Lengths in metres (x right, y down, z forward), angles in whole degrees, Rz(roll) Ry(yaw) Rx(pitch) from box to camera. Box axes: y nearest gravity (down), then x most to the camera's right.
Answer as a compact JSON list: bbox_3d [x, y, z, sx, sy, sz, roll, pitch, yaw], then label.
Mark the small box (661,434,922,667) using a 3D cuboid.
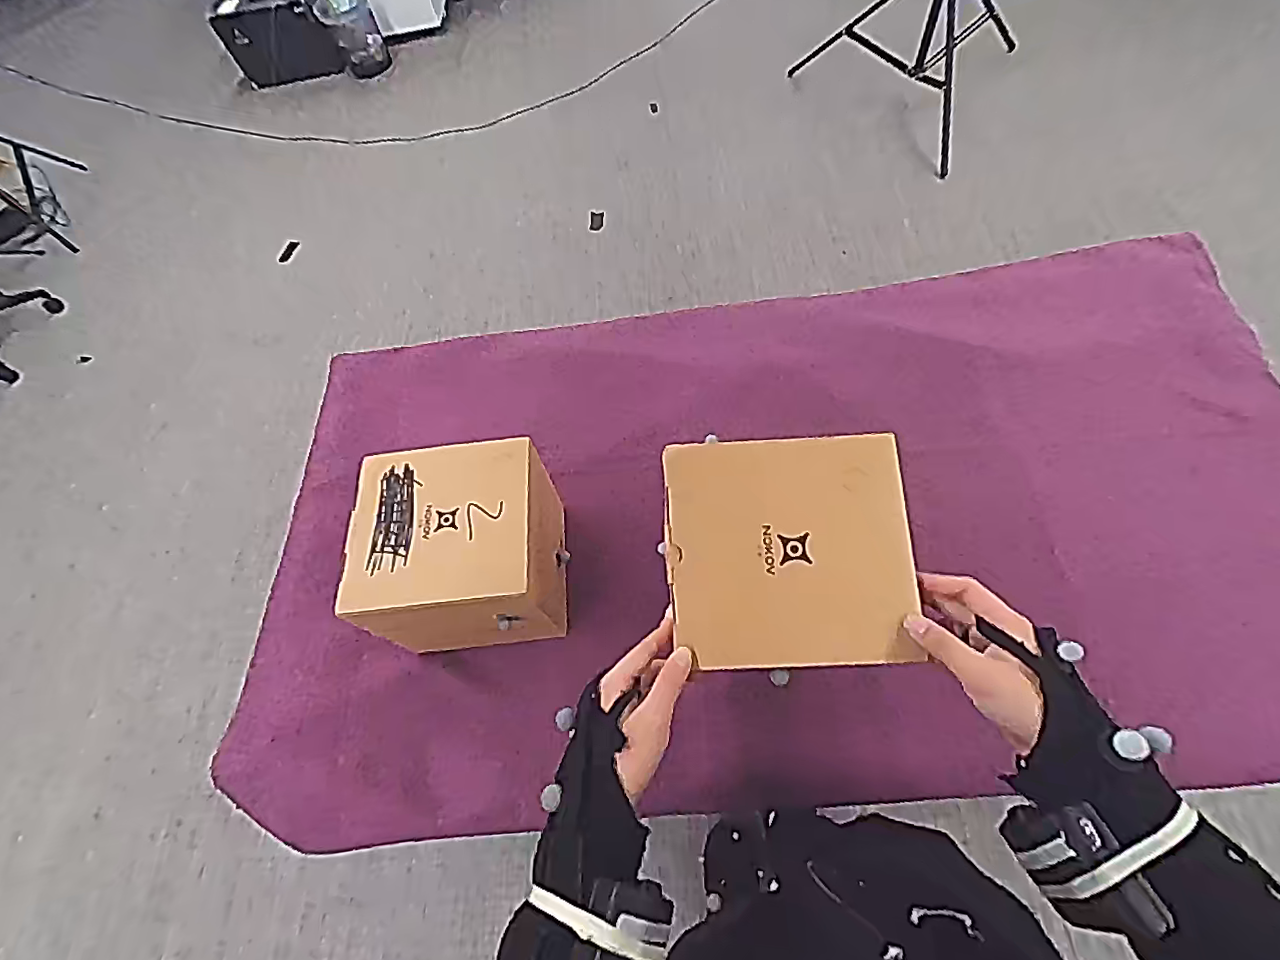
[{"bbox_3d":[0.111,0.065,0.470,0.179,0.176,0.168,-4,77,5],"label":"small box"}]
